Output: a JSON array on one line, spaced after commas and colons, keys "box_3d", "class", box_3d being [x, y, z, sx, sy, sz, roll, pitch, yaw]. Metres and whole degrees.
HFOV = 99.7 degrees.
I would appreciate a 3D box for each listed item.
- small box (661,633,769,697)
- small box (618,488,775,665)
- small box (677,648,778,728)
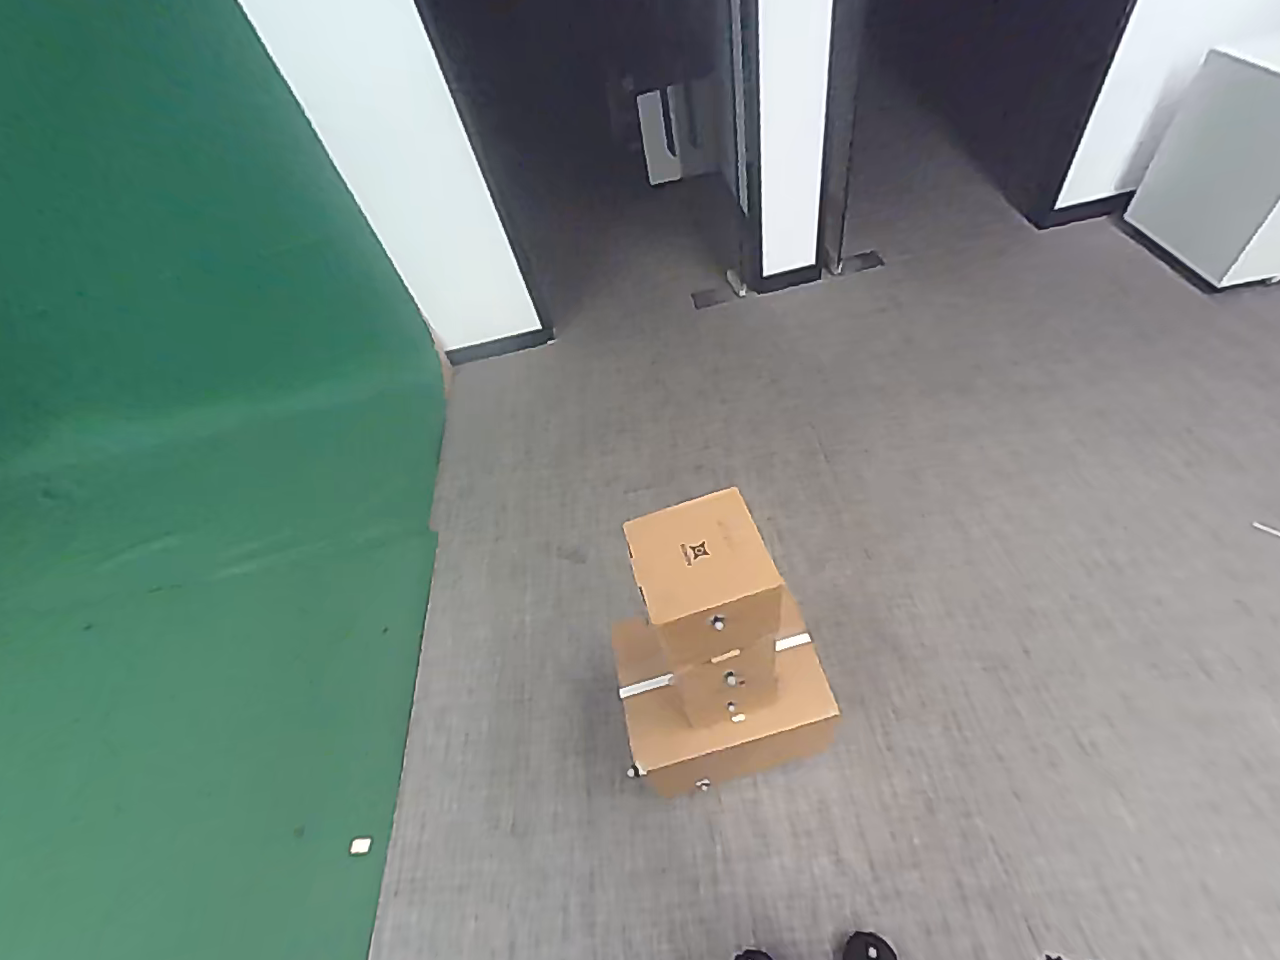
[{"box_3d": [0.108, 0.244, 0.906, 0.168, 0.176, 0.179, -19, 51, -2], "class": "small box"}, {"box_3d": [0.083, 0.145, 0.779, 0.179, 0.176, 0.168, -18, 52, -2], "class": "small box"}, {"box_3d": [0.143, 0.346, 1.029, 0.179, 0.176, 0.168, -20, 51, -4], "class": "small box"}]
